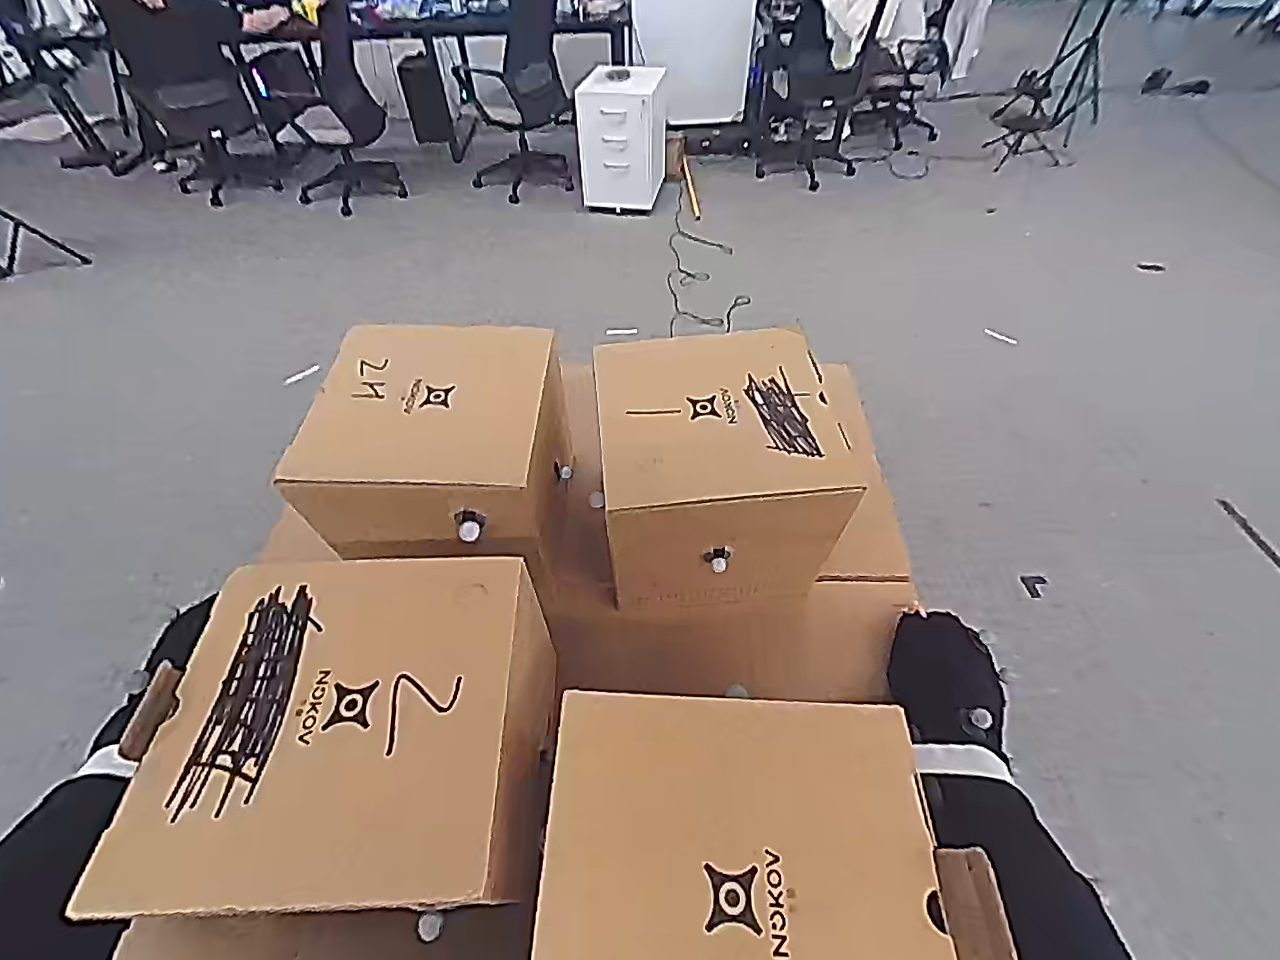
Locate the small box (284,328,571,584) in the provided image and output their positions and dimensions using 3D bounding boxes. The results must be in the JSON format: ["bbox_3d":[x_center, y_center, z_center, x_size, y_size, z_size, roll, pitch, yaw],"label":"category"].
[{"bbox_3d":[-0.162,-0.016,0.489,0.179,0.176,0.168,1,53,2],"label":"small box"}]
